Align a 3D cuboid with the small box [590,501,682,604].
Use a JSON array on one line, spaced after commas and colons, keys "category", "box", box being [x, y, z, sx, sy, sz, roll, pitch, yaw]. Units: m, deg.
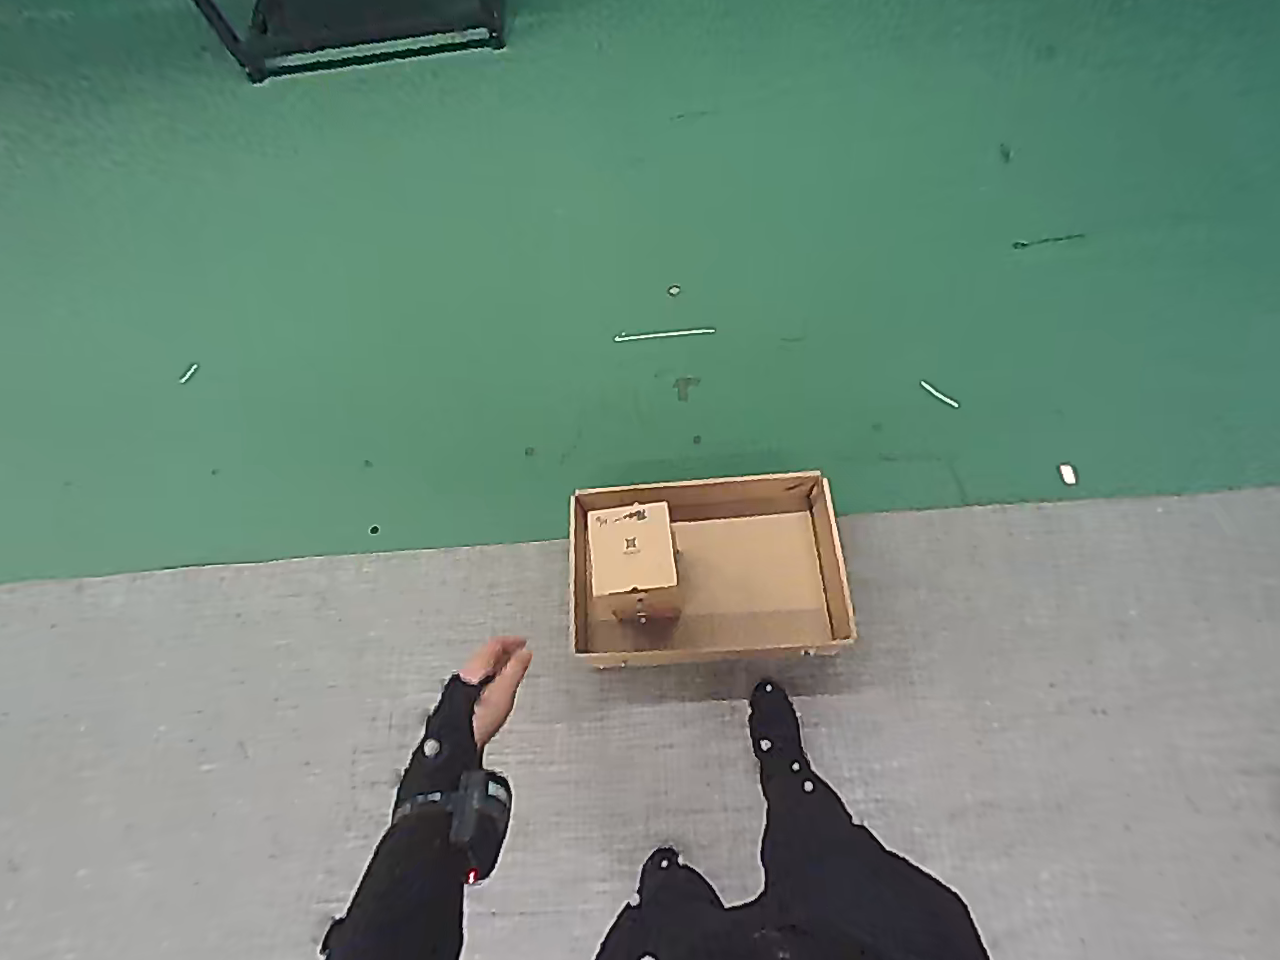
[{"category": "small box", "box": [-0.005, 0.159, 1.126, 0.168, 0.176, 0.179, -7, 68, 3]}]
